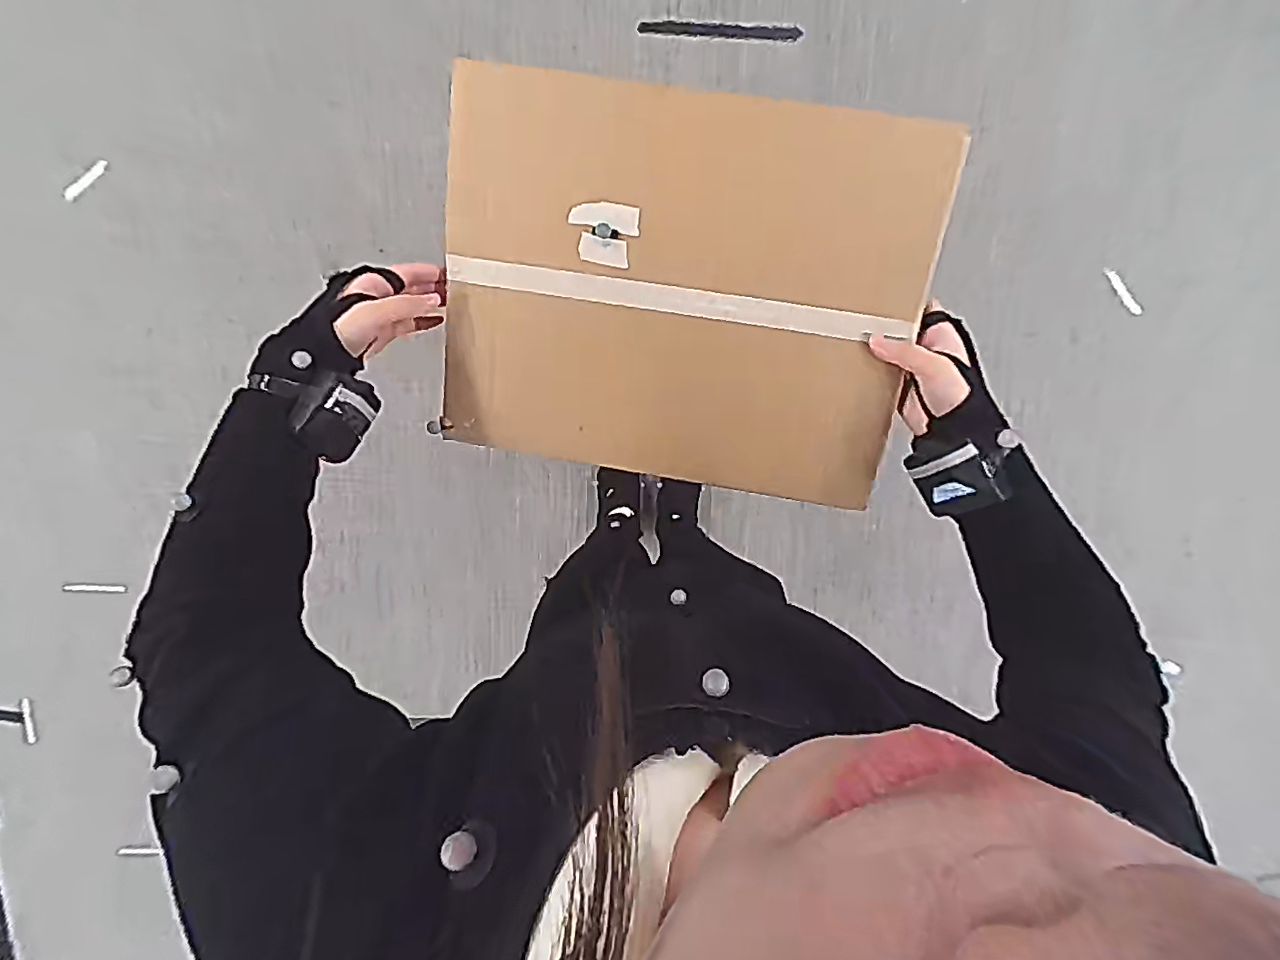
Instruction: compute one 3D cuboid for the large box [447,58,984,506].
[{"bbox_3d":[0.053,-0.194,0.586,0.408,0.320,0.320,10,107,5],"label":"large box"}]
